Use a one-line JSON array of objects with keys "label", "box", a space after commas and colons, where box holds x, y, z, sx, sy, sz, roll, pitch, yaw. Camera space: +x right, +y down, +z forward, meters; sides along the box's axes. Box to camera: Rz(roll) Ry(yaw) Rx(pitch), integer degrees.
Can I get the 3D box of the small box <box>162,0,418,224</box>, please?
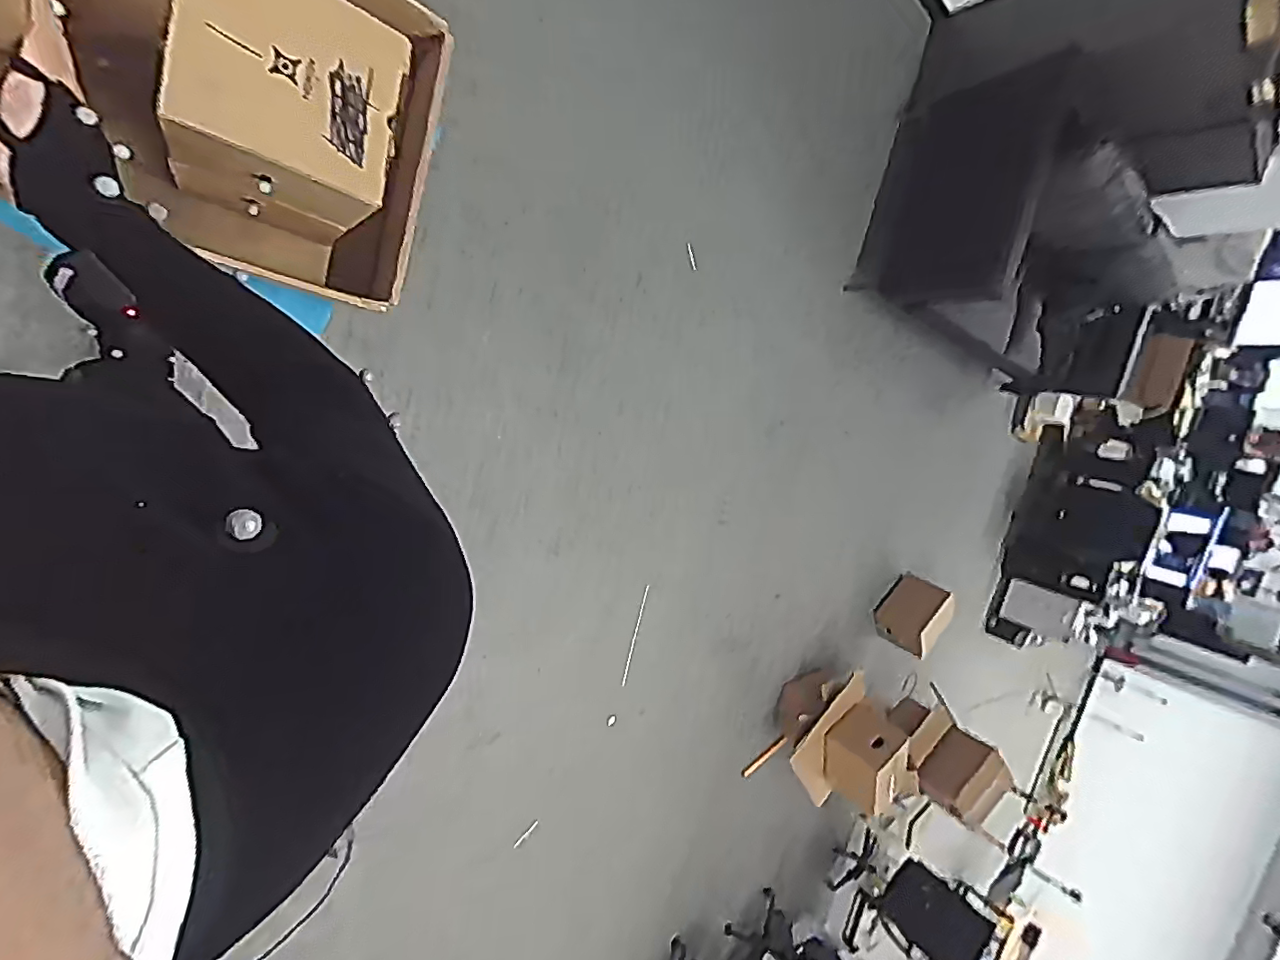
[{"label": "small box", "box": [-0.352, -0.380, 0.550, 0.179, 0.176, 0.168, 10, 96, -38]}]
